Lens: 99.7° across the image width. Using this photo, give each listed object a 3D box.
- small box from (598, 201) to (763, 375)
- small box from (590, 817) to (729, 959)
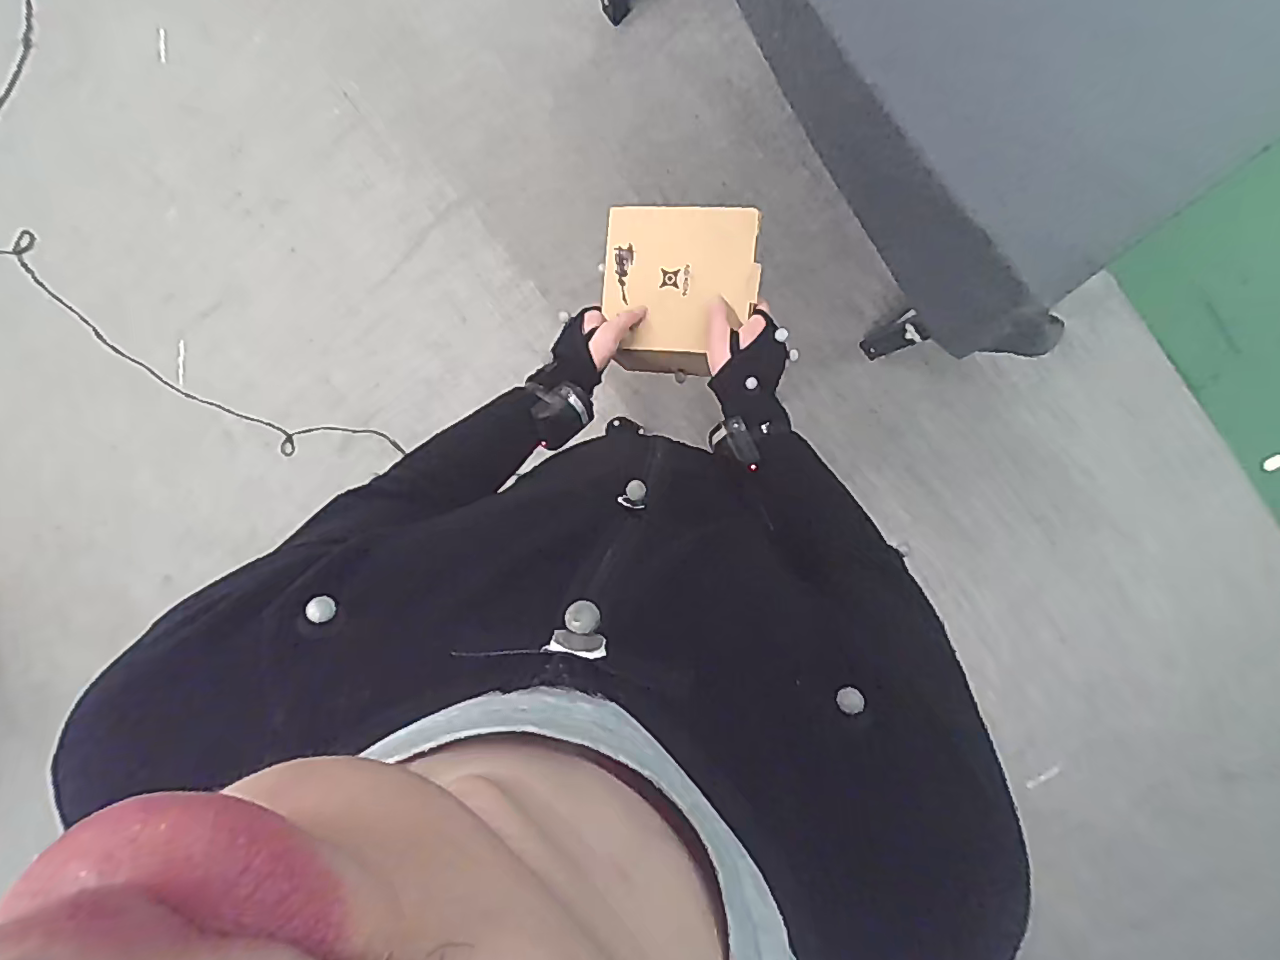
[{"bbox_3d":[0.053,-0.232,0.693,0.179,0.176,0.168,6,93,7],"label":"small box"},{"bbox_3d":[0.036,0.755,0.959,0.179,0.176,0.168,-34,94,5],"label":"small box"}]
